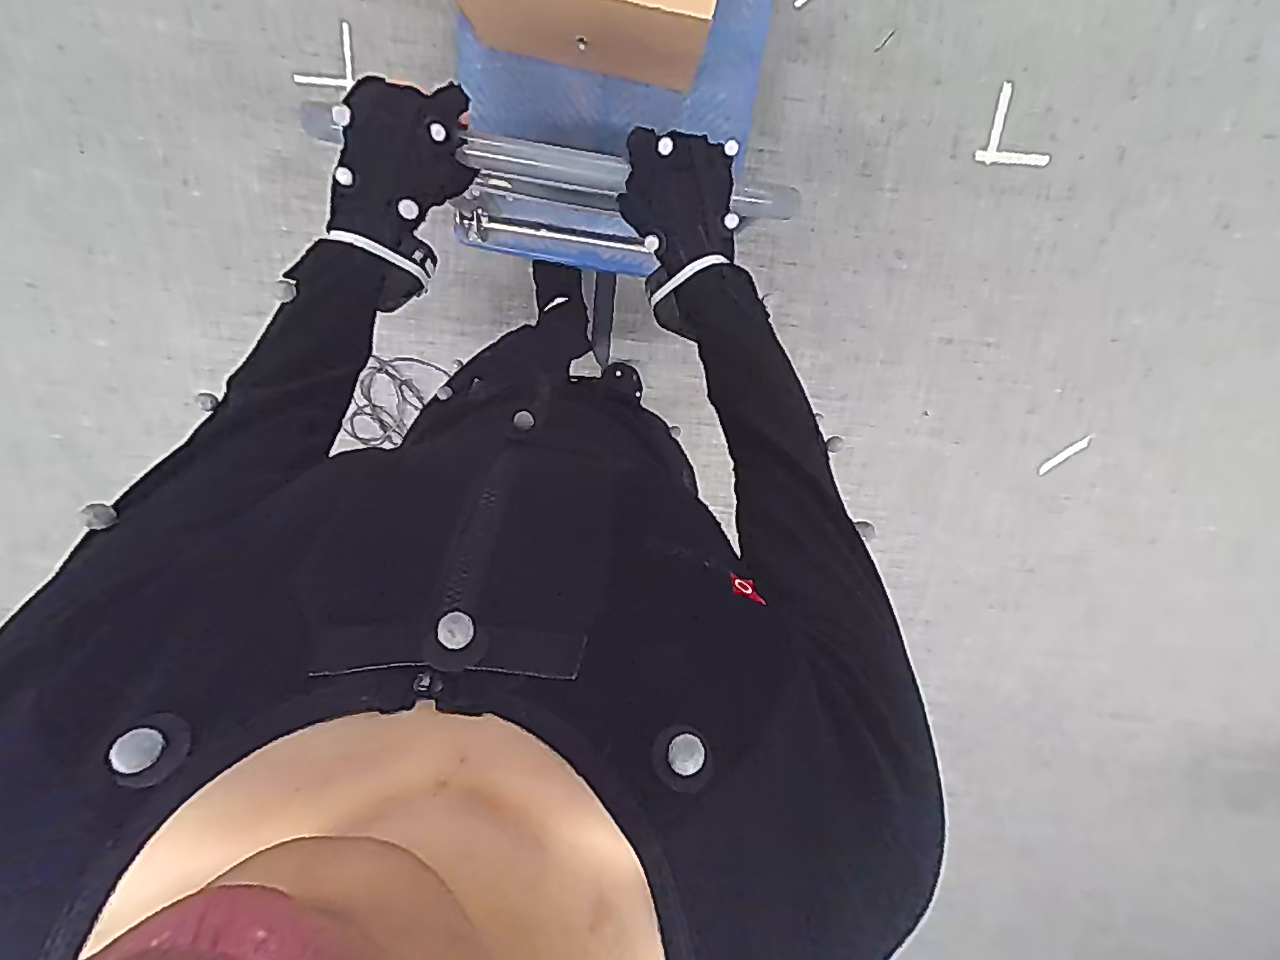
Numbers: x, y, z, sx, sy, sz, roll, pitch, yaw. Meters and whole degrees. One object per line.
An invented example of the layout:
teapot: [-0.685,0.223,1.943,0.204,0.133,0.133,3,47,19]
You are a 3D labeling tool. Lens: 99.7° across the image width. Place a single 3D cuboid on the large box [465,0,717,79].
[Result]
large box: [-0.065,-0.891,0.850,0.408,0.320,0.320,9,109,-4]
